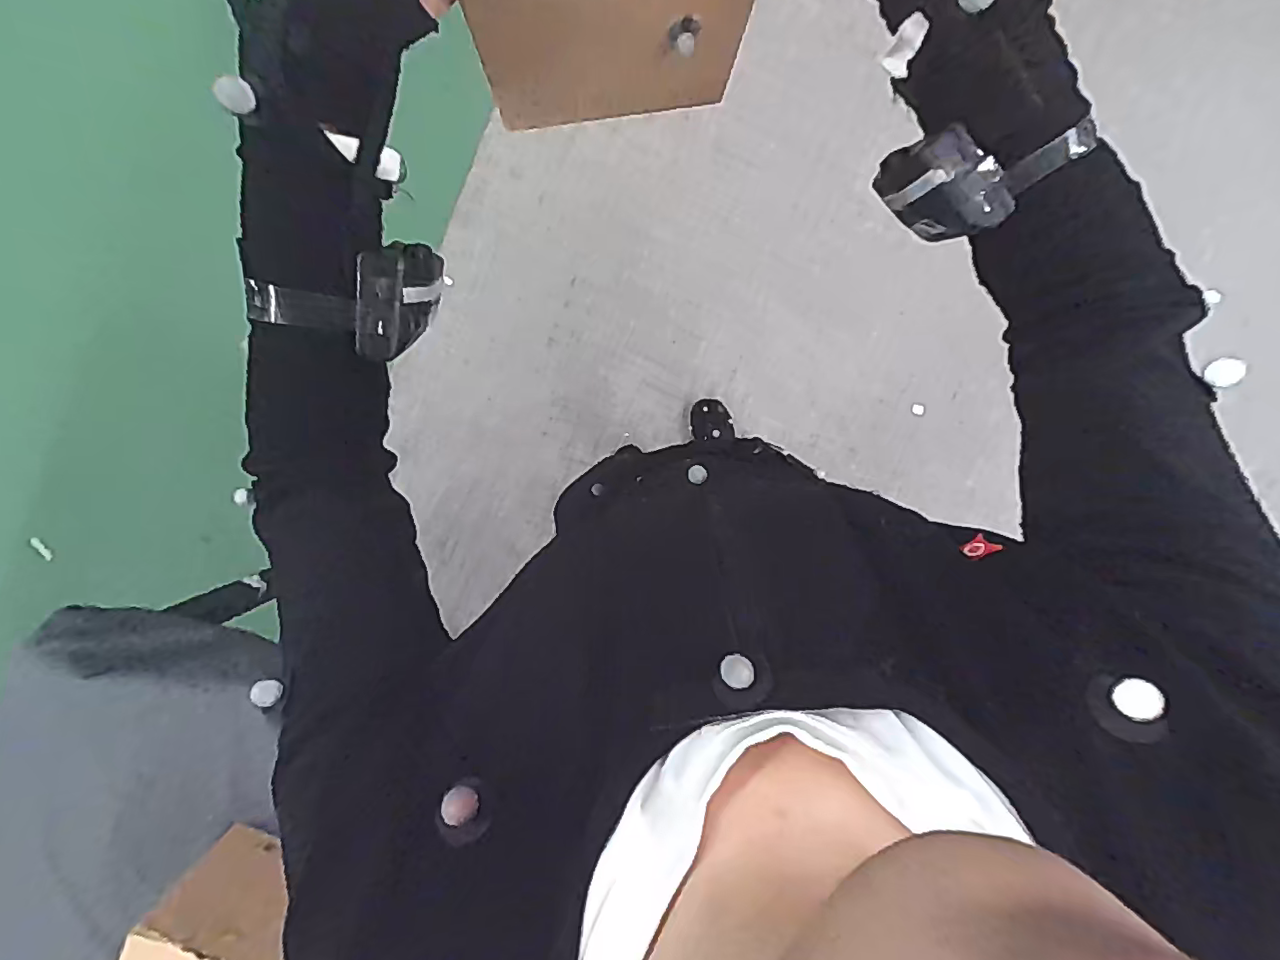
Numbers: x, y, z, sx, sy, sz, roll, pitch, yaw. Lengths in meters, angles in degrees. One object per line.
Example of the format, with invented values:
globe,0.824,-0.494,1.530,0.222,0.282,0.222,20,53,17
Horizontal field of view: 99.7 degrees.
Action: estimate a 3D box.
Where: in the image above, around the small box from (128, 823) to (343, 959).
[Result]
small box,-0.523,0.597,0.704,0.168,0.176,0.179,23,96,-3
